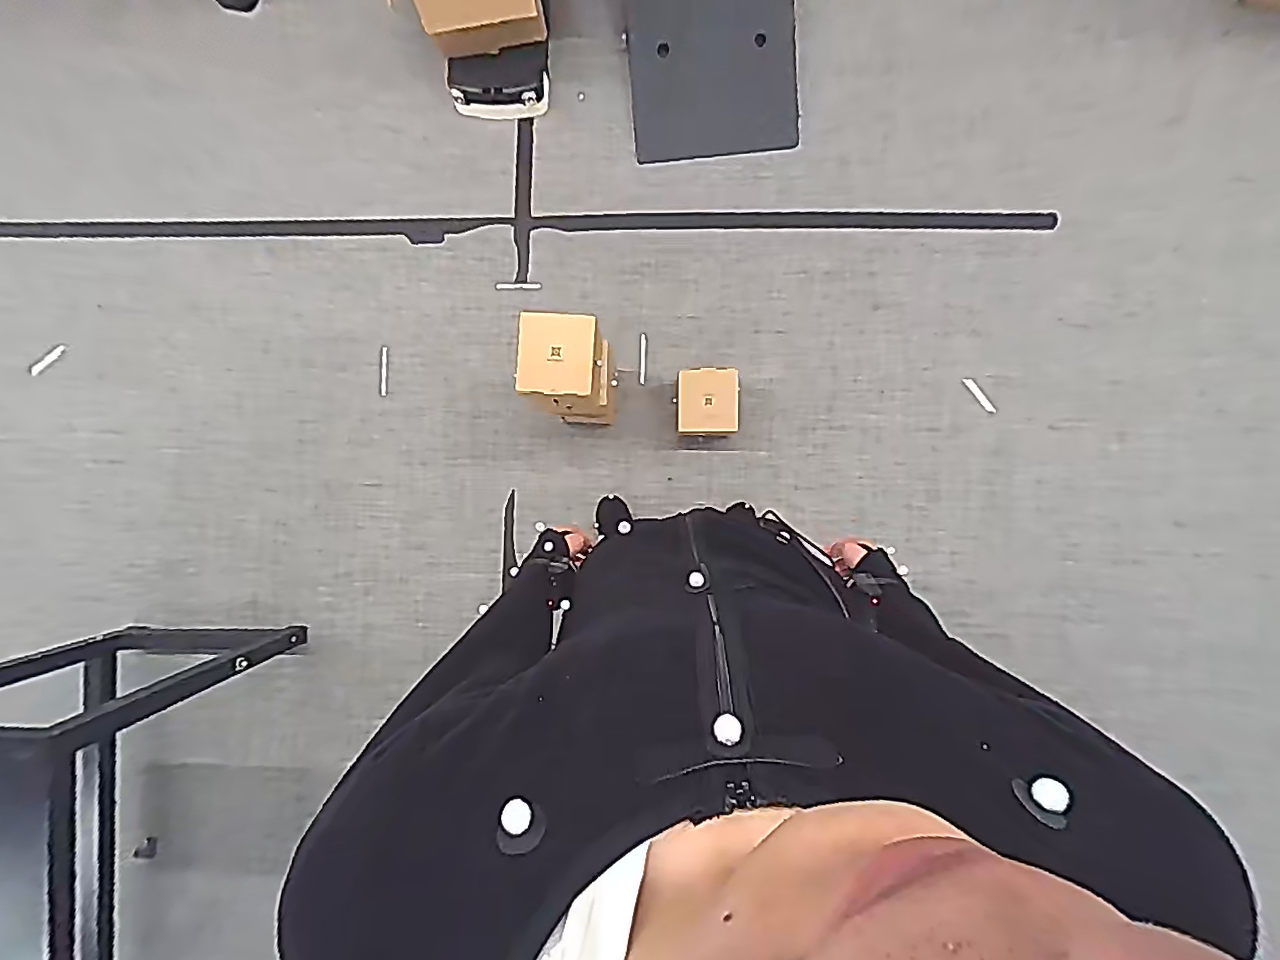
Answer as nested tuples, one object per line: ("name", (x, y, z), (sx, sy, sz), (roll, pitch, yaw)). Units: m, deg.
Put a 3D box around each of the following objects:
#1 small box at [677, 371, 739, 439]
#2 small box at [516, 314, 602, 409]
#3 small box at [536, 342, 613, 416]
("small box", (0.191, -0.211, 1.555), (0.168, 0.176, 0.179), (0, 91, 3))
("small box", (-0.178, -0.265, 1.236), (0.168, 0.176, 0.179), (3, 91, 1))
("small box", (-0.164, -0.257, 1.398), (0.179, 0.176, 0.168), (1, 90, 0))
